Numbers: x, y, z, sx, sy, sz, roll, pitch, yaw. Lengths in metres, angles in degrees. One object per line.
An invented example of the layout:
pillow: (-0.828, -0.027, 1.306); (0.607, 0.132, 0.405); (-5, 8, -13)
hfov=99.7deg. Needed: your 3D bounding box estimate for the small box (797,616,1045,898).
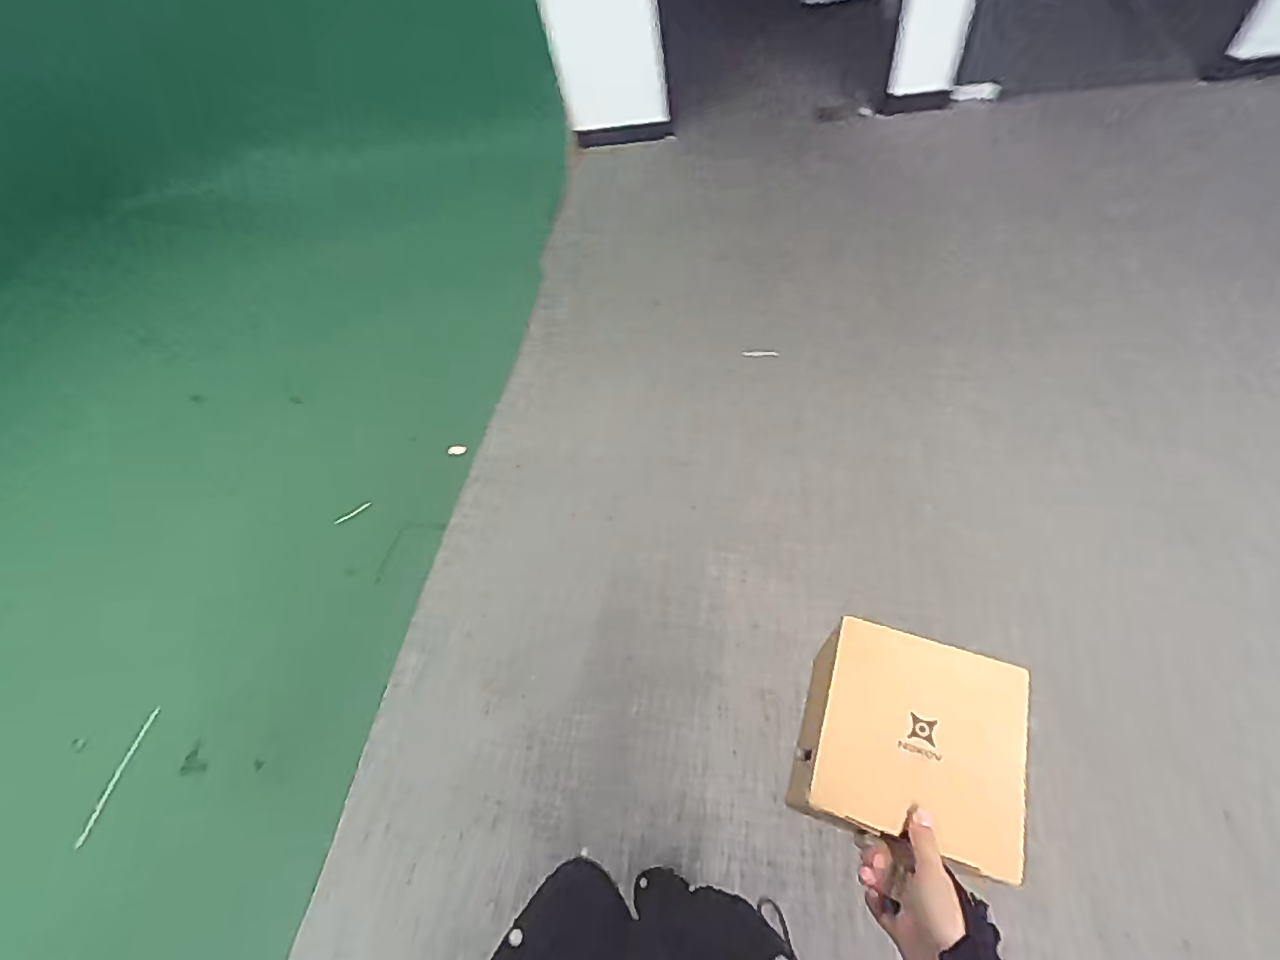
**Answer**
small box: (0.263, 0.265, 0.536); (0.168, 0.176, 0.179); (16, 63, 16)
